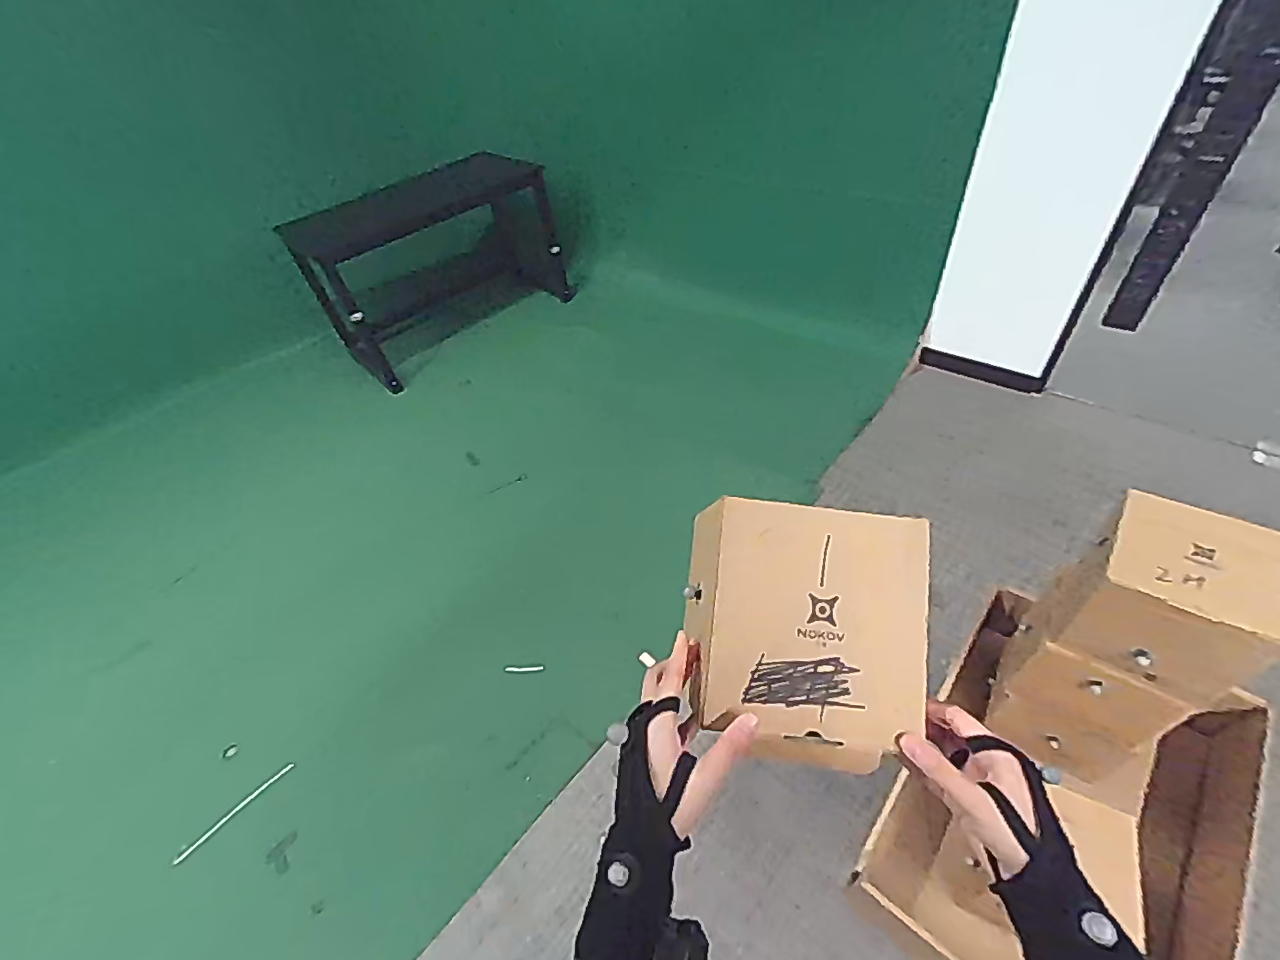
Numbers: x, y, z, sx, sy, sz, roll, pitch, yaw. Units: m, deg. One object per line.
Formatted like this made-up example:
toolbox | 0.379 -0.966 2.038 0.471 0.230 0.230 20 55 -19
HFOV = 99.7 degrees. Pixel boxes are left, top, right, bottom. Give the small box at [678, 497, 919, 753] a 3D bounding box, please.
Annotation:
small box | 0.128 0.121 0.493 0.168 0.176 0.179 7 80 0

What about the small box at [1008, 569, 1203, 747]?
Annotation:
small box | 0.702 0.275 0.822 0.179 0.176 0.168 23 54 31

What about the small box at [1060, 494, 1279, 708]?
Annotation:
small box | 0.690 0.156 0.708 0.168 0.176 0.179 25 56 32

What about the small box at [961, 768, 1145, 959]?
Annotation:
small box | 0.589 0.568 0.789 0.168 0.176 0.179 17 51 24
